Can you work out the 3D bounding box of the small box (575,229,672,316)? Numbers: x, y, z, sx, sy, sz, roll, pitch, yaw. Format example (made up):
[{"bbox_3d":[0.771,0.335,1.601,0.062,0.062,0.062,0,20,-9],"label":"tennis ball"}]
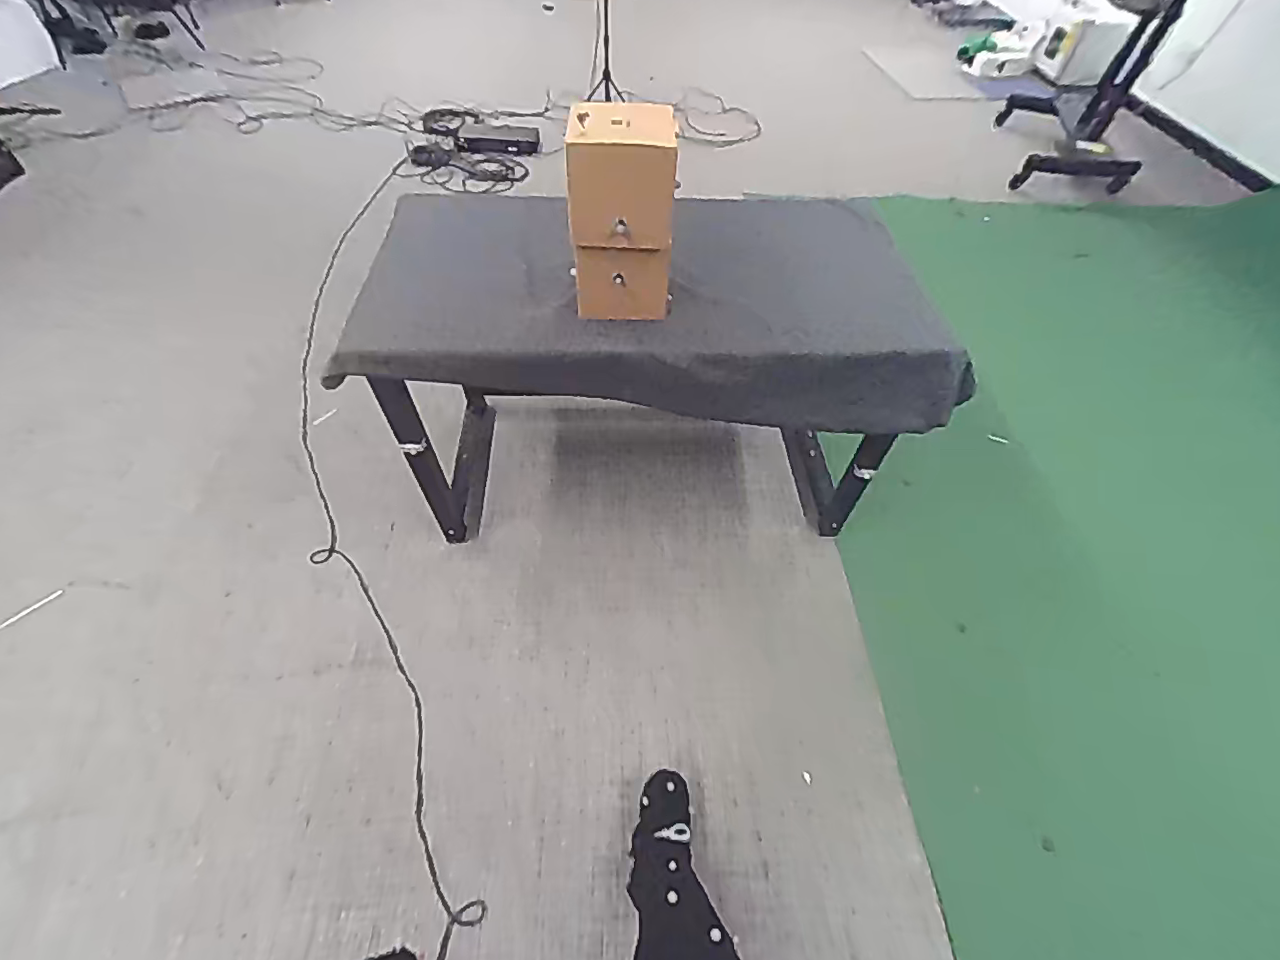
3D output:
[{"bbox_3d":[-0.034,-0.443,1.073,0.179,0.176,0.168,-1,53,-2],"label":"small box"}]

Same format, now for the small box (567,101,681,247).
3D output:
[{"bbox_3d":[-0.031,-0.522,0.932,0.179,0.176,0.168,-1,55,-3],"label":"small box"}]
